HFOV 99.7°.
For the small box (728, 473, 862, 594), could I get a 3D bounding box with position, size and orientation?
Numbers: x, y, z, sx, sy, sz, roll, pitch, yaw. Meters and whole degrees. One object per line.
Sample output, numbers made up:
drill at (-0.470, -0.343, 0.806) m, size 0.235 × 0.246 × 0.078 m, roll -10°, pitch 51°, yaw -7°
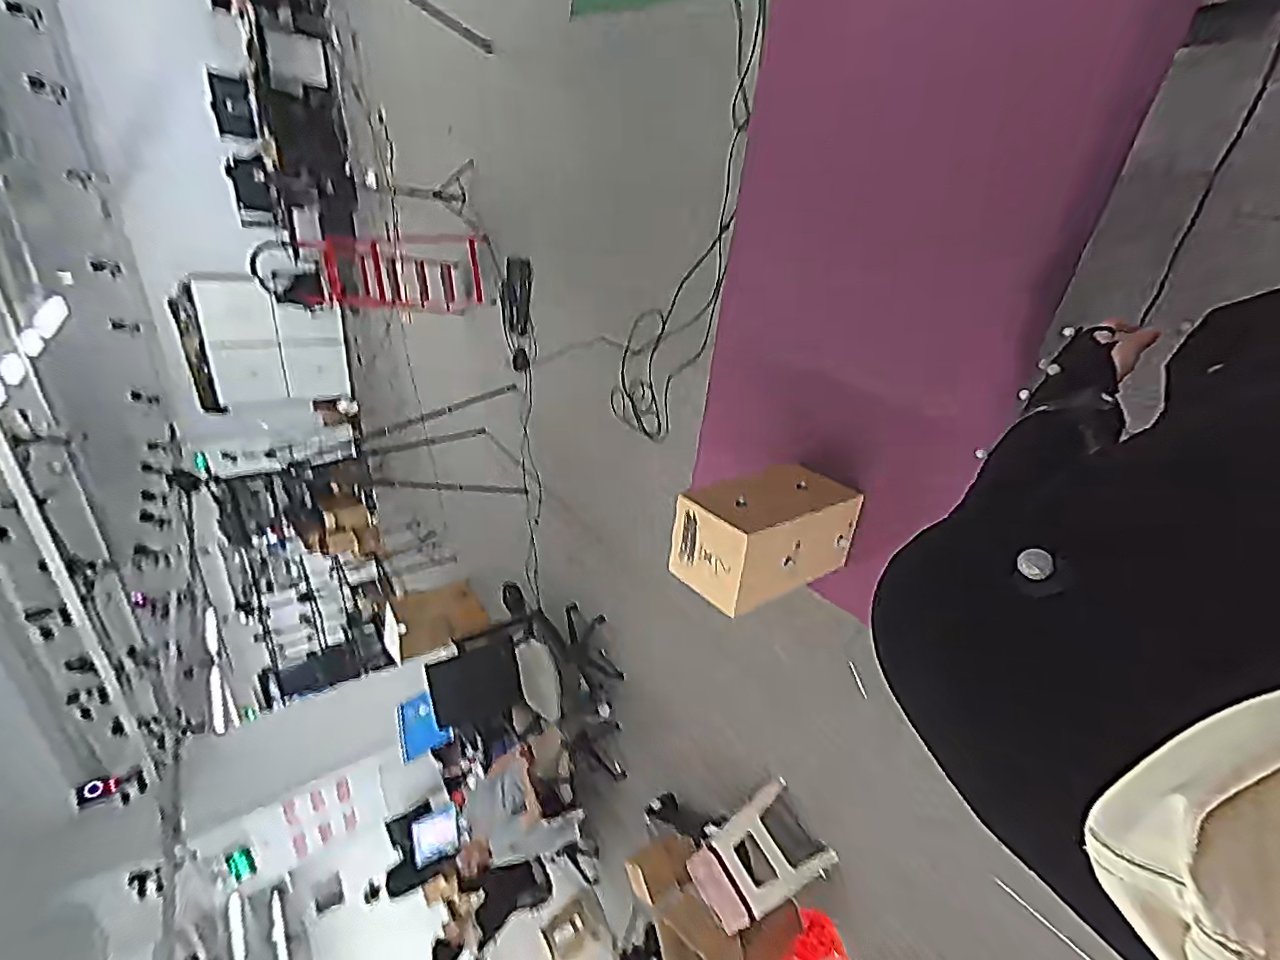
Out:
small box at (0.306, 0.095, 1.078) m, size 0.179 × 0.176 × 0.168 m, roll 30°, pitch 124°, yaw 44°
